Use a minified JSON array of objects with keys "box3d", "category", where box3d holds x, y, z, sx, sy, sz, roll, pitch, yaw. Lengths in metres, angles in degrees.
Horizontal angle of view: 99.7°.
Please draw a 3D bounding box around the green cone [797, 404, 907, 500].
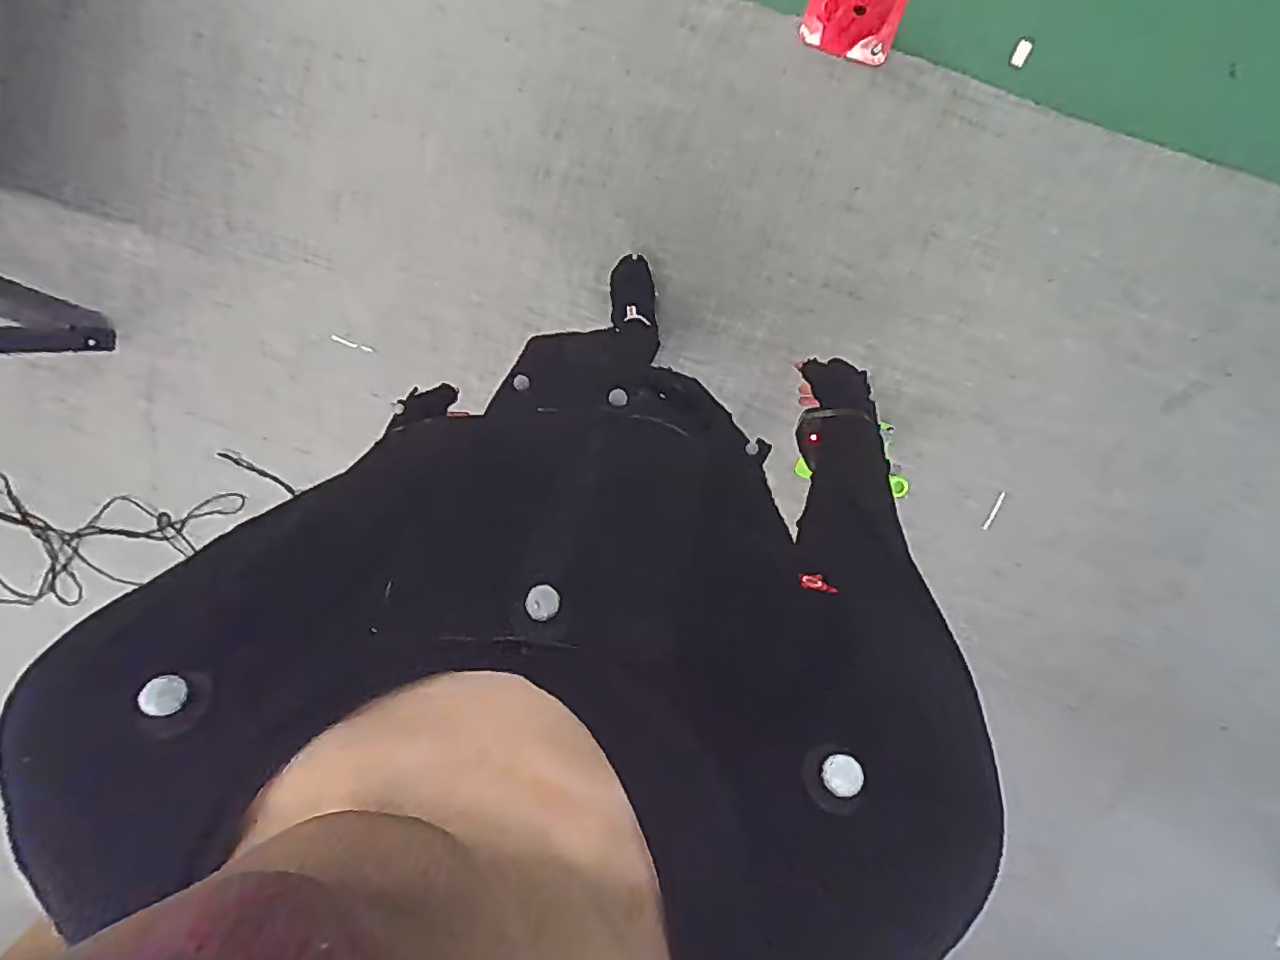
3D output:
[{"box3d":[0.514,-0.033,1.230,0.200,0.368,0.202,17,106,-1],"category":"green cone"}]
